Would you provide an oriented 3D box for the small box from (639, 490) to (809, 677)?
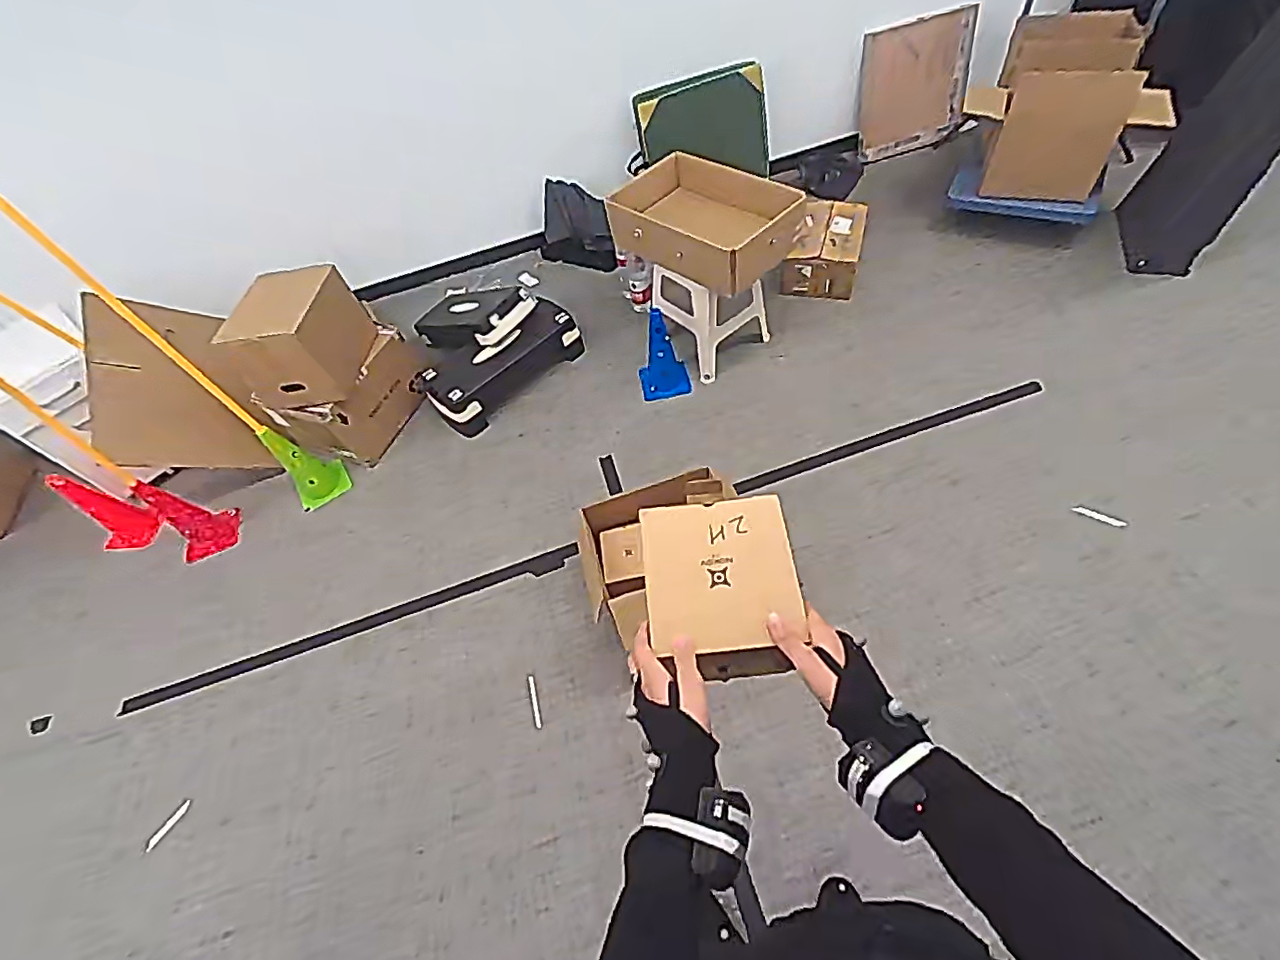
[{"bbox_3d":[0.093,0.134,0.653,0.168,0.176,0.179,-6,60,2],"label":"small box"}]
